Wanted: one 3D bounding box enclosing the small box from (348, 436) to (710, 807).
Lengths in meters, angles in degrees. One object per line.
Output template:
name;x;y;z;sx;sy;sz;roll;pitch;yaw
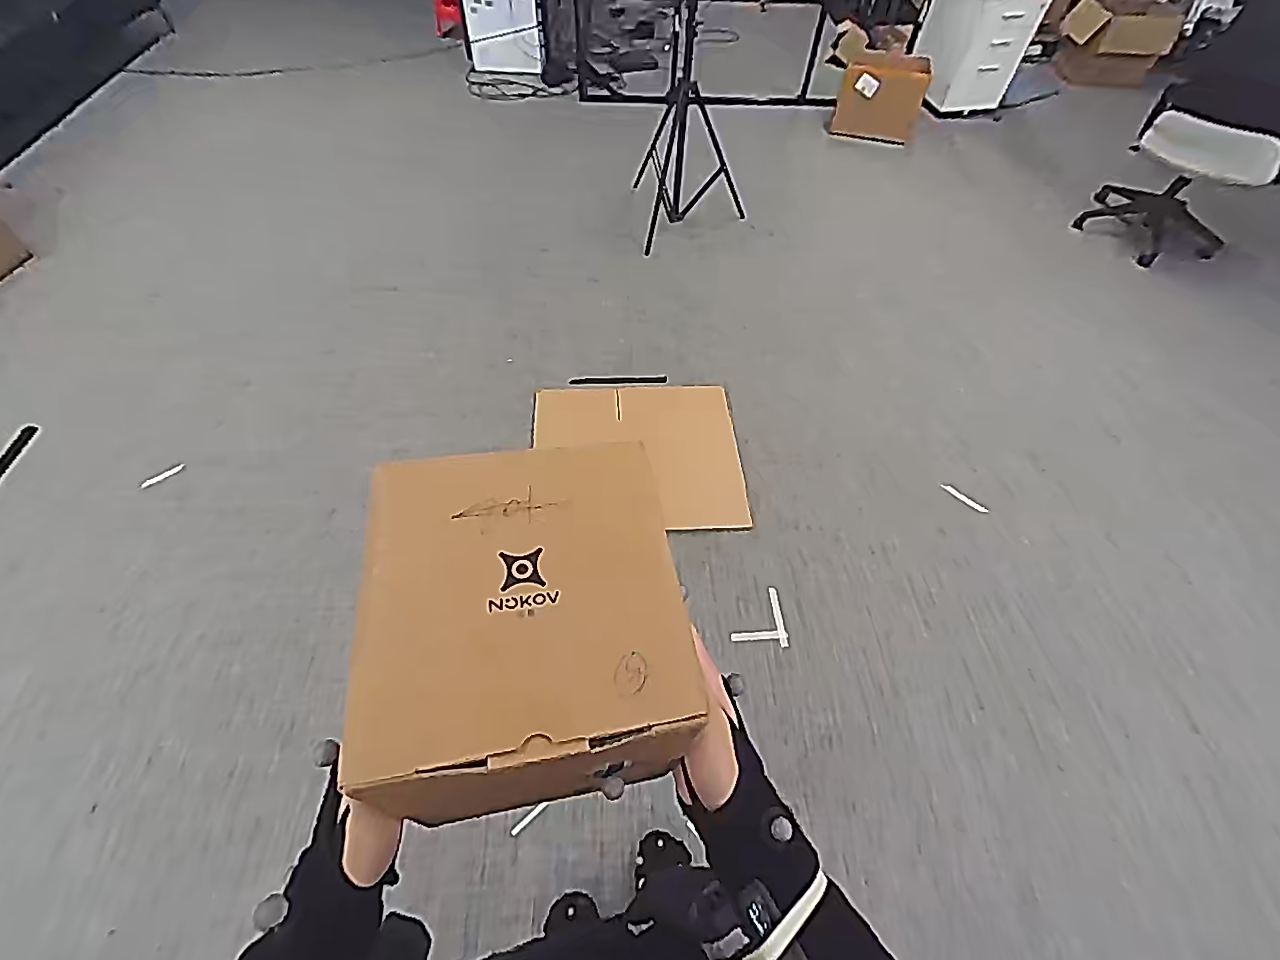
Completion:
small box;-0.068;0.096;0.352;0.168;0.176;0.179;-6;54;-12
